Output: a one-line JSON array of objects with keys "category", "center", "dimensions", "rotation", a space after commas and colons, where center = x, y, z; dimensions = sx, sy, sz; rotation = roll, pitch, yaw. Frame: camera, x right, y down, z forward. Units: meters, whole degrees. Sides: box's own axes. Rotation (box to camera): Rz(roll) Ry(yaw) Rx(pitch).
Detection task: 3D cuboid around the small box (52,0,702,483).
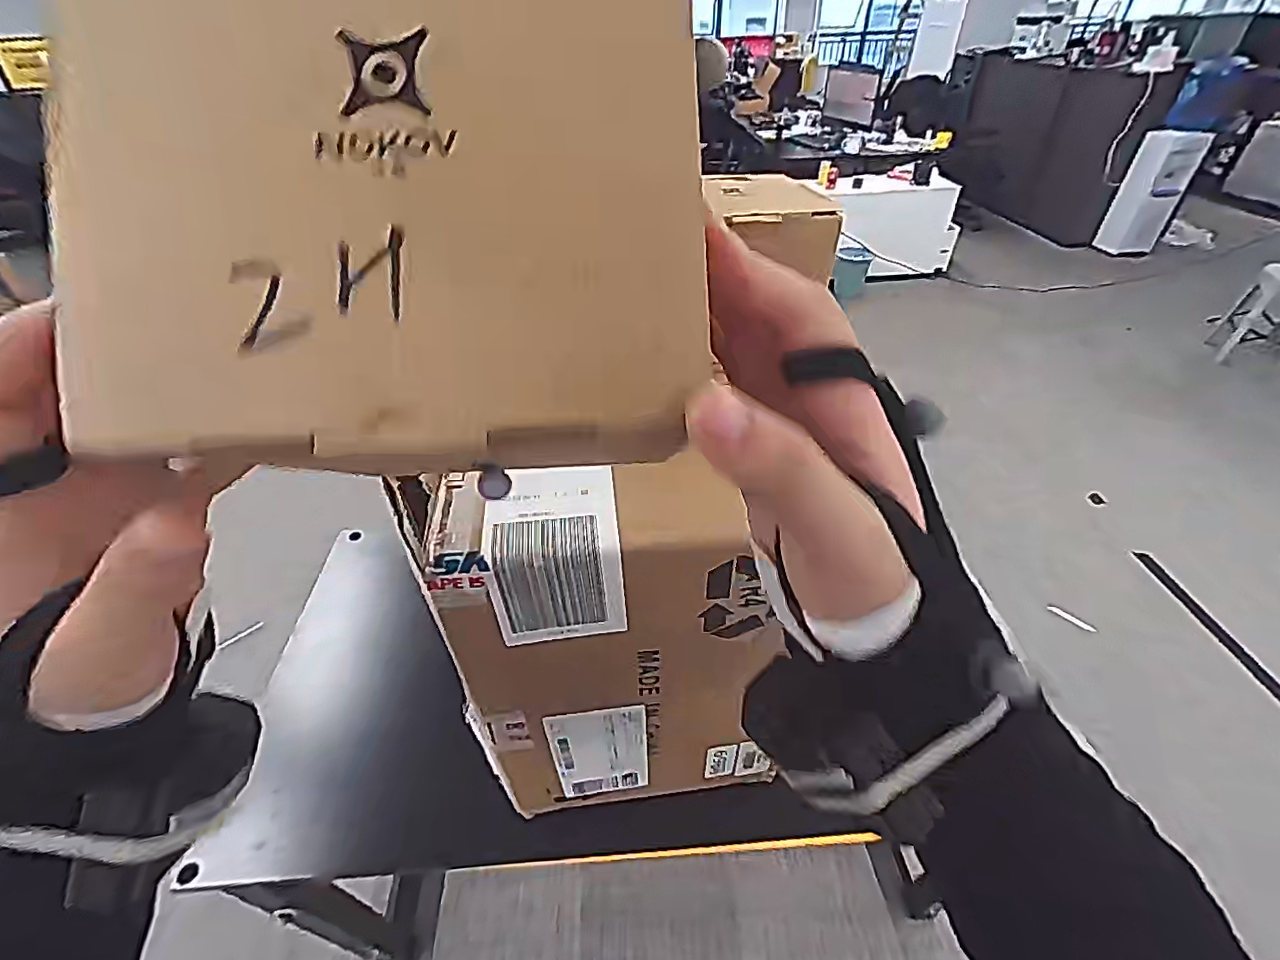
[{"category": "small box", "center": [-0.070, -0.089, 0.223], "dimensions": [0.168, 0.179, 0.176], "rotation": [-3, 0, 0]}]
